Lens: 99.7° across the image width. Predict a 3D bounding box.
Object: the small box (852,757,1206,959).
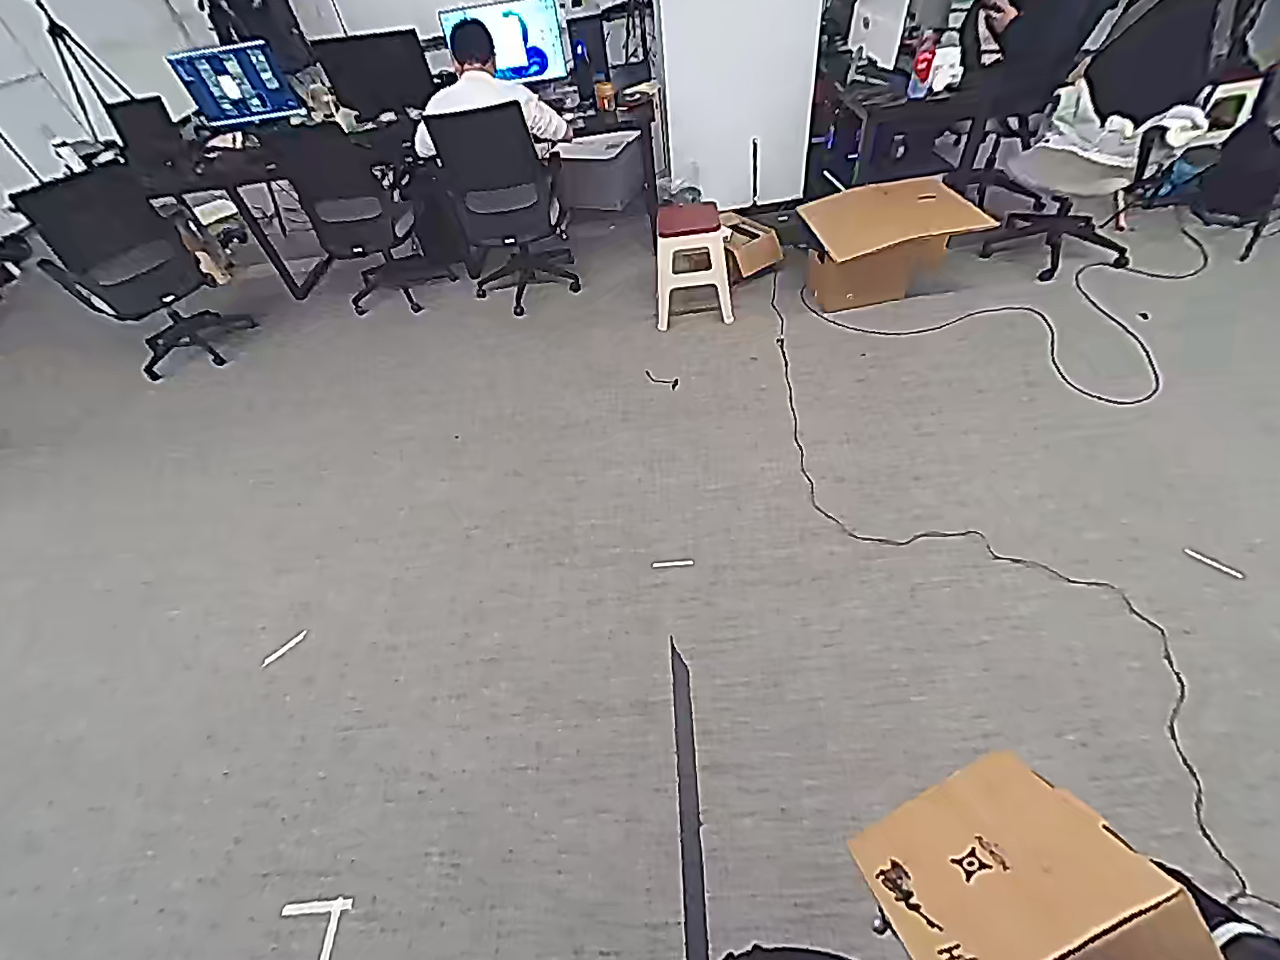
[{"bbox_3d":[0.316,0.378,0.439,0.179,0.168,0.176,-30,92,0],"label":"small box"}]
